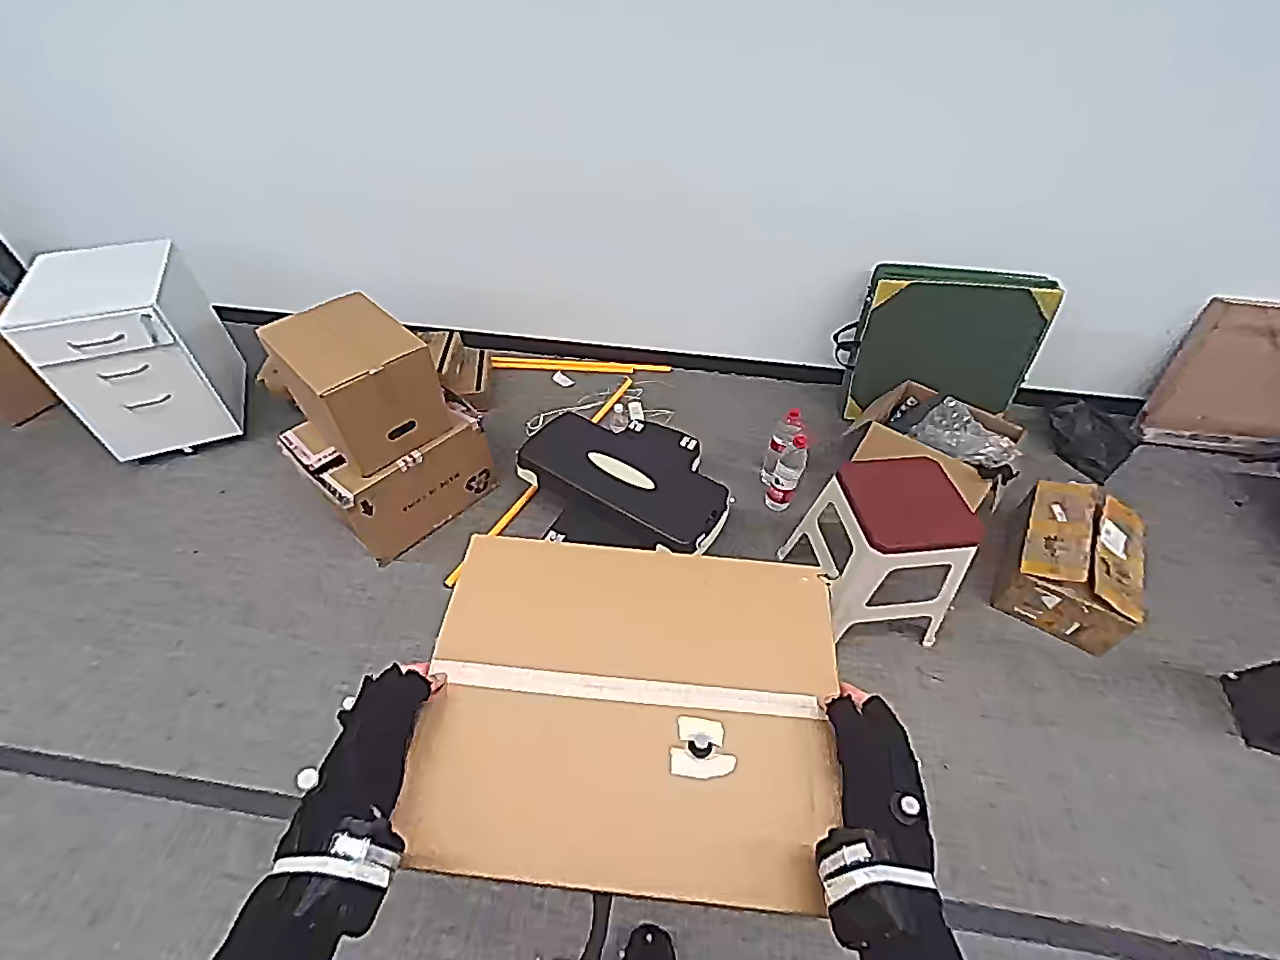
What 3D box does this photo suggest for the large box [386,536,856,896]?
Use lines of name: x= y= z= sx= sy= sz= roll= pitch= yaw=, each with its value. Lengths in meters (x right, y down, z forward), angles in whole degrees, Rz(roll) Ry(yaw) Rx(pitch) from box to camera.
large box: x=-0.012 y=0.291 z=0.654 sx=0.408 sy=0.320 sz=0.320 roll=6 pitch=54 yaw=2
